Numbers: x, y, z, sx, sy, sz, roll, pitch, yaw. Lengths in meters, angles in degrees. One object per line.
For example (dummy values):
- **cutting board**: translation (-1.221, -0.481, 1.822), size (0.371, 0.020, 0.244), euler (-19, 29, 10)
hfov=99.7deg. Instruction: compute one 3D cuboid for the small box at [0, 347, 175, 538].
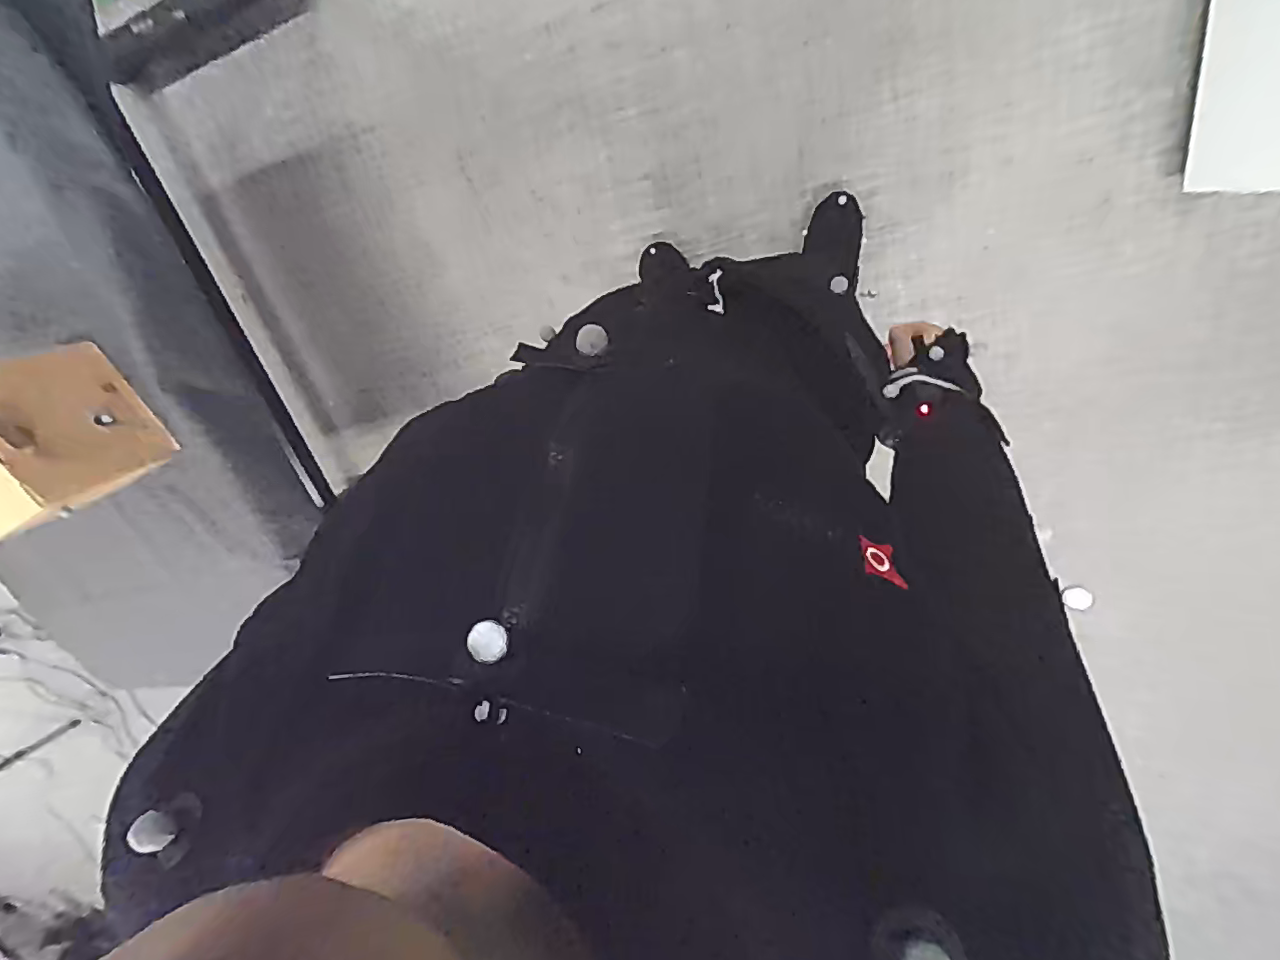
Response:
- **small box**: translation (-0.750, -0.045, 0.674), size (0.179, 0.176, 0.168), euler (-20, 110, 21)
